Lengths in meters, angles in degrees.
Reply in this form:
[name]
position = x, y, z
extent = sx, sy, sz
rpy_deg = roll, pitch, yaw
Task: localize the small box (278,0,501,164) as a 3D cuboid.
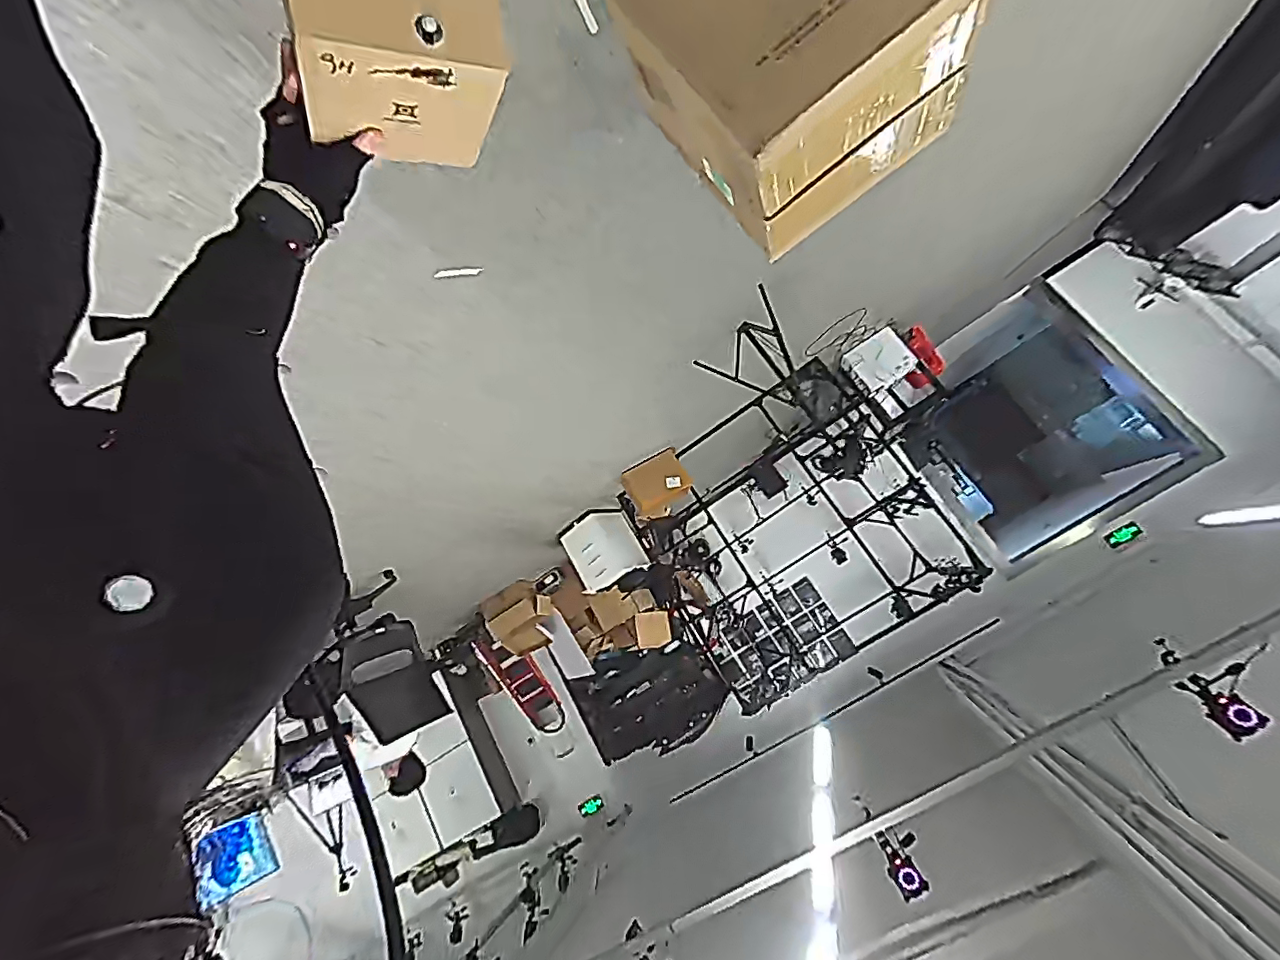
[small box]
position = -0.244, -0.436, 0.512
extent = 0.168, 0.176, 0.179
rpy_deg = -11, -174, -28
